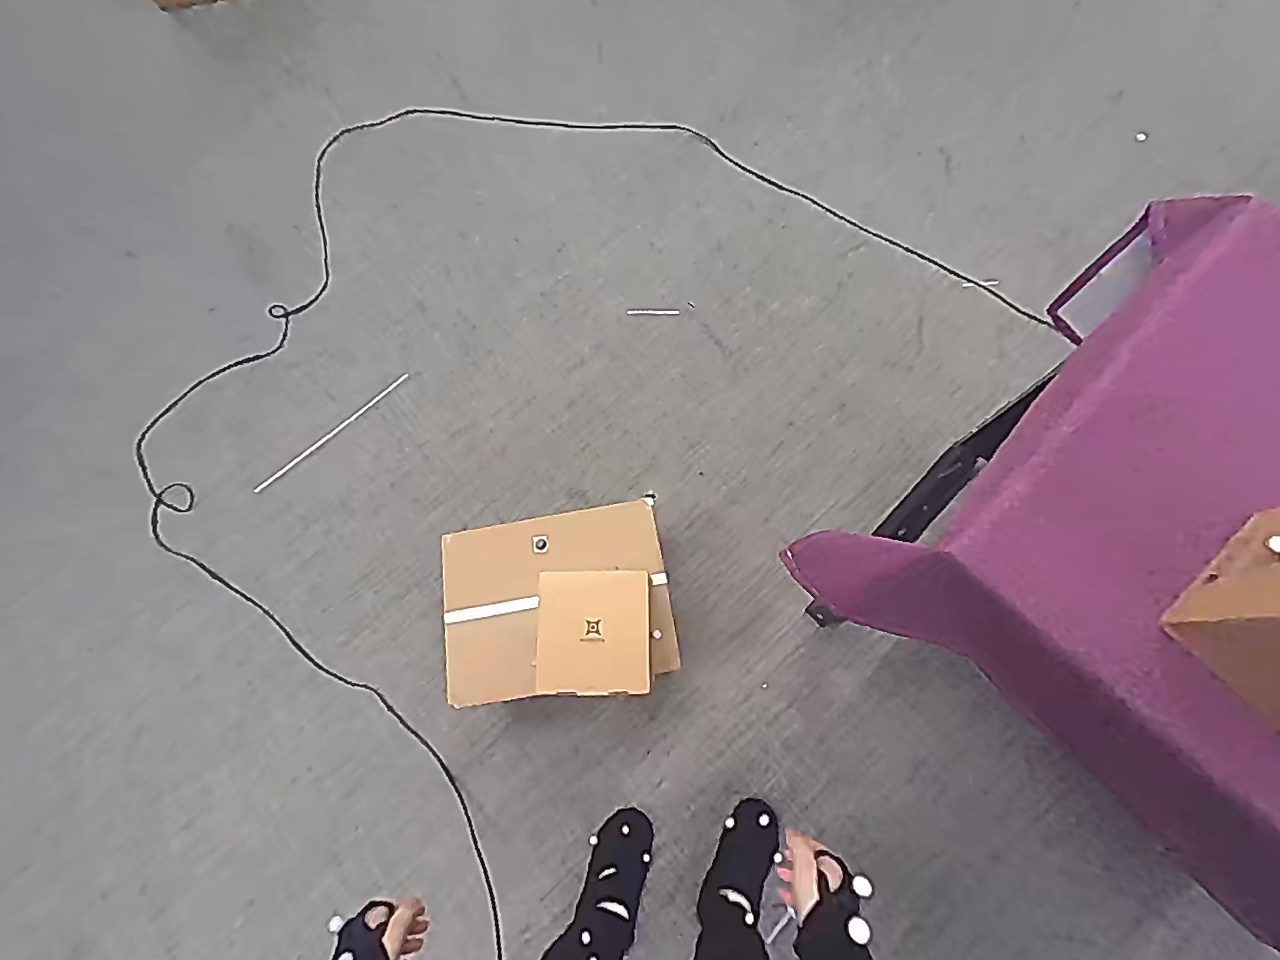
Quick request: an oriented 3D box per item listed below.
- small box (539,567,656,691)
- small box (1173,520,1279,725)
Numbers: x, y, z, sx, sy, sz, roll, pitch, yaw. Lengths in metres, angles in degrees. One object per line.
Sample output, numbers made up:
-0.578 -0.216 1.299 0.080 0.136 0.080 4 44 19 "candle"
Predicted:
-0.060 0.234 0.864 0.168 0.176 0.179 -2 77 3 "small box"
0.599 0.120 0.421 0.168 0.176 0.179 -40 74 -8 "small box"
